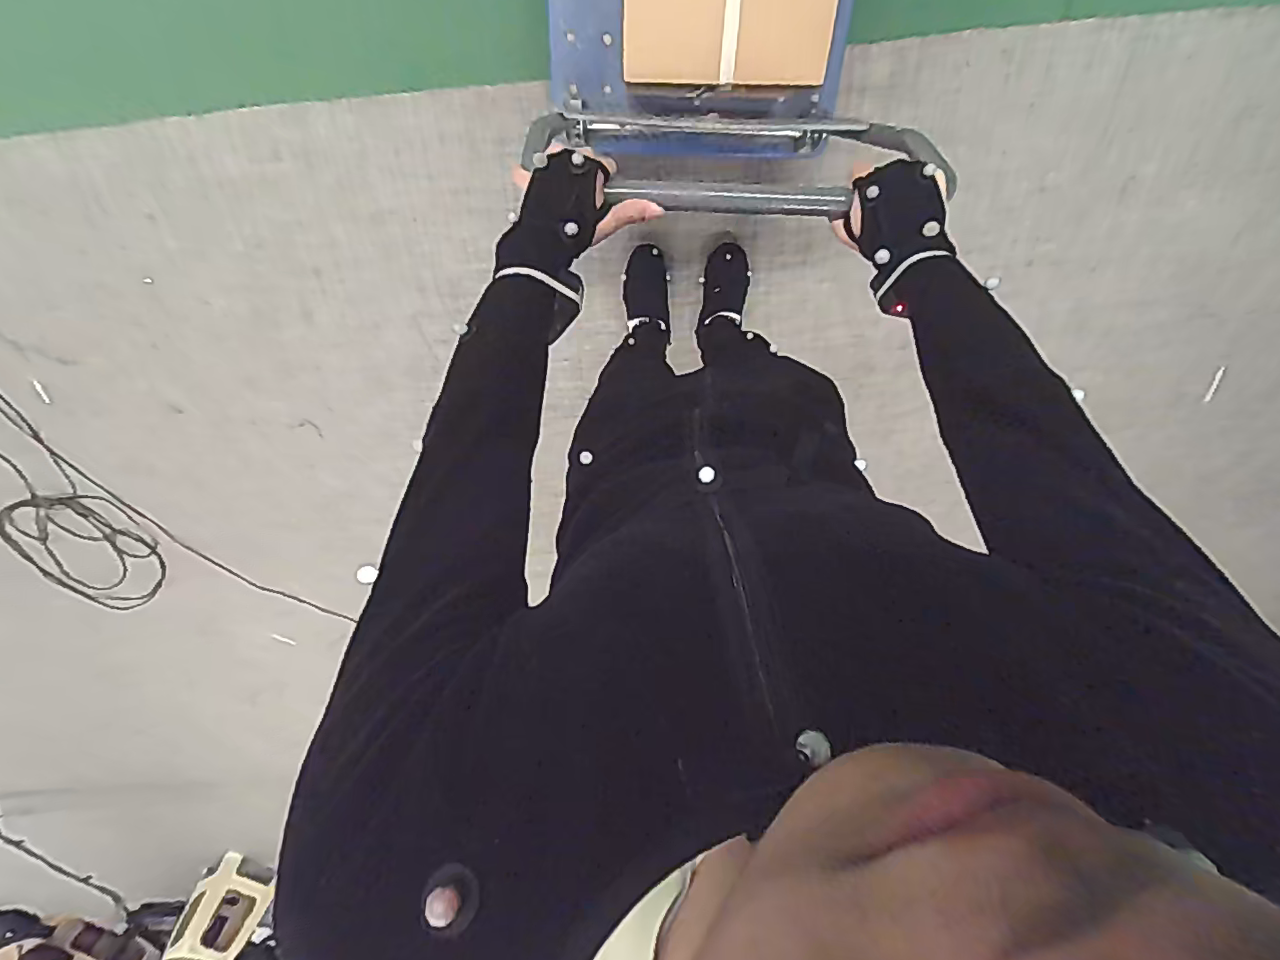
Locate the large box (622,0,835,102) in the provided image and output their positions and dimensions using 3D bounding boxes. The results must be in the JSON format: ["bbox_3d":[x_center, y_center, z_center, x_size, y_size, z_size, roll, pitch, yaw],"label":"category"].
[{"bbox_3d":[0.133,-0.858,0.864,0.320,0.320,0.408,1,122,-1],"label":"large box"}]
